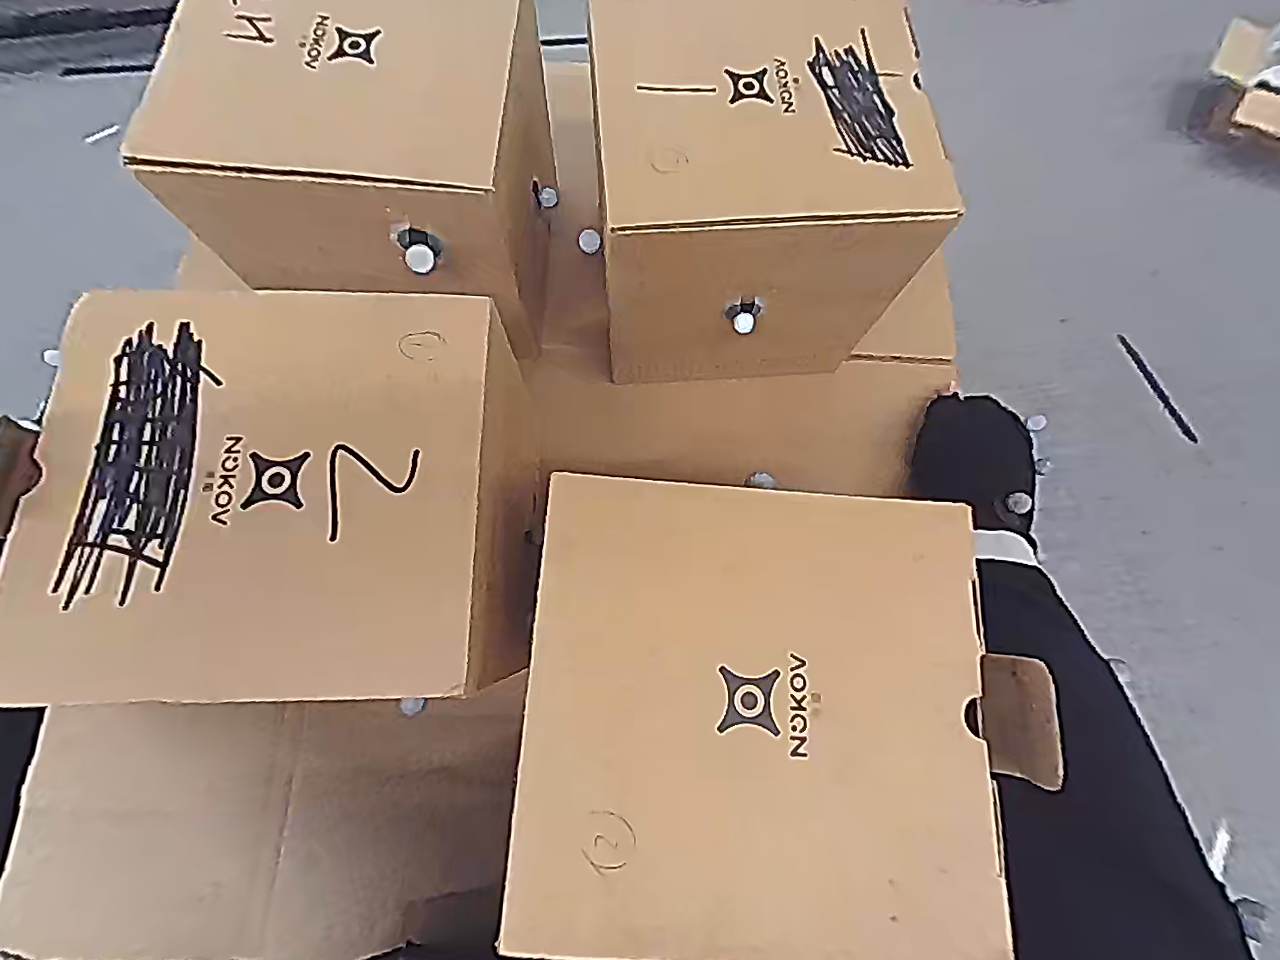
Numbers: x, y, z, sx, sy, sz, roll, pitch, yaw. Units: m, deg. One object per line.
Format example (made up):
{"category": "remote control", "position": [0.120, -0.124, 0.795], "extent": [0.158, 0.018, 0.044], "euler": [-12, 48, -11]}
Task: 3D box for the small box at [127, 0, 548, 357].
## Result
{"category": "small box", "position": [-0.161, -0.196, 0.361], "extent": [0.179, 0.176, 0.168], "euler": [3, 74, -1]}
